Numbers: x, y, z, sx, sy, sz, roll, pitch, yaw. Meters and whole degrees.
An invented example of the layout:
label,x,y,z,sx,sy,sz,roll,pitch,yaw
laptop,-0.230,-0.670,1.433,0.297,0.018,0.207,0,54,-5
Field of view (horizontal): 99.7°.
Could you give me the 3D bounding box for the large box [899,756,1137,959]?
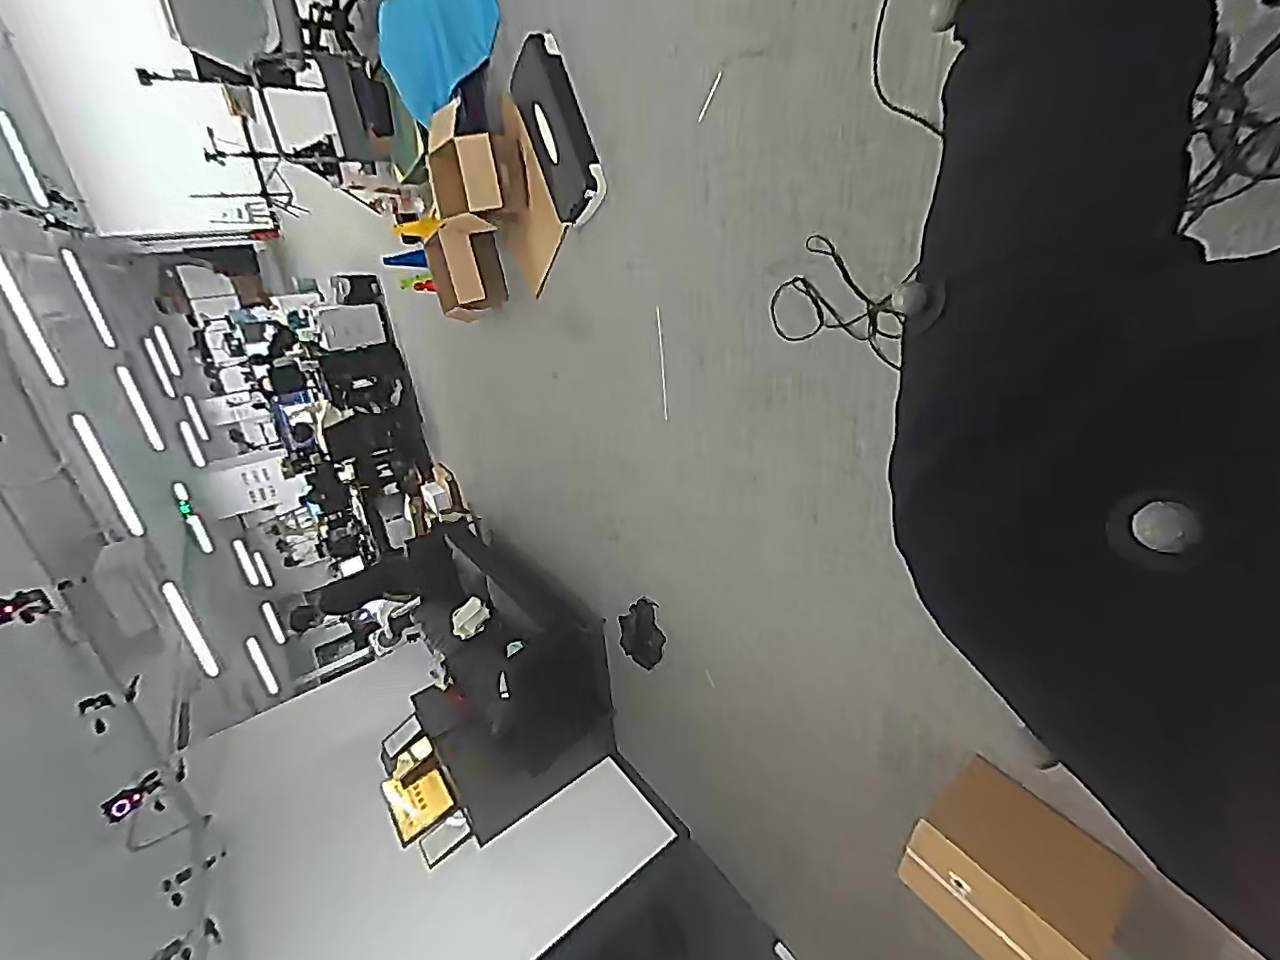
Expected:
label,x,y,z,sx,sy,sz,roll,pitch,yaw
large box,1.006,1.069,1.474,0.408,0.320,0.320,34,134,44
